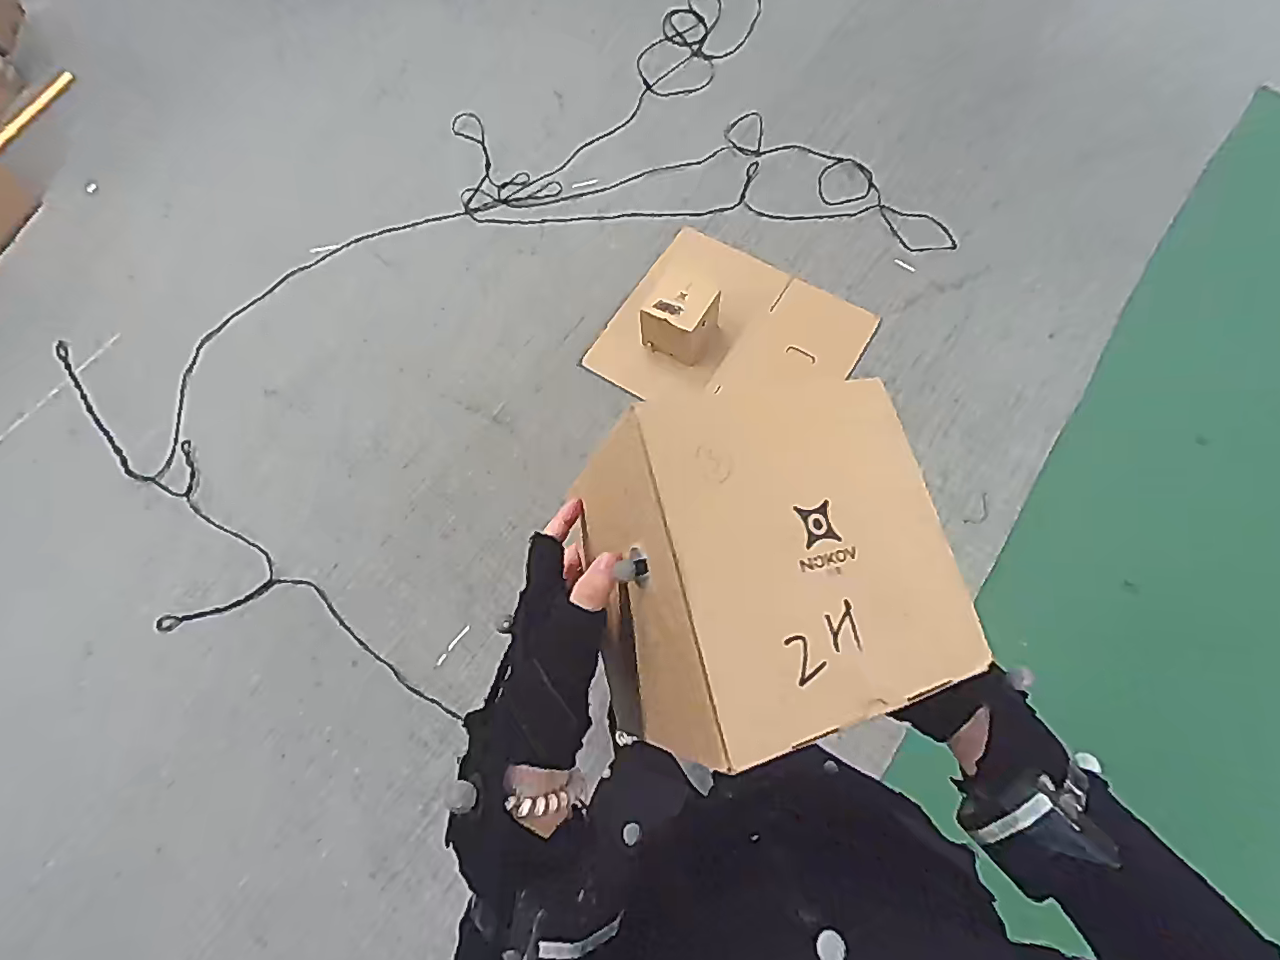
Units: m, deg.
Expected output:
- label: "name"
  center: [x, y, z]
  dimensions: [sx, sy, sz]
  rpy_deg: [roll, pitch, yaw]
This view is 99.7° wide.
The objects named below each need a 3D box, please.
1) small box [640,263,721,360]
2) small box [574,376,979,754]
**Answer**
- label: "small box"
  center: [0.118, -0.477, 1.555]
  dimensions: [0.168, 0.176, 0.179]
  rpy_deg: [29, 74, 12]
- label: "small box"
  center: [0.064, 0.051, 0.352]
  dimensions: [0.168, 0.176, 0.179]
  rpy_deg: [-8, 77, -22]
